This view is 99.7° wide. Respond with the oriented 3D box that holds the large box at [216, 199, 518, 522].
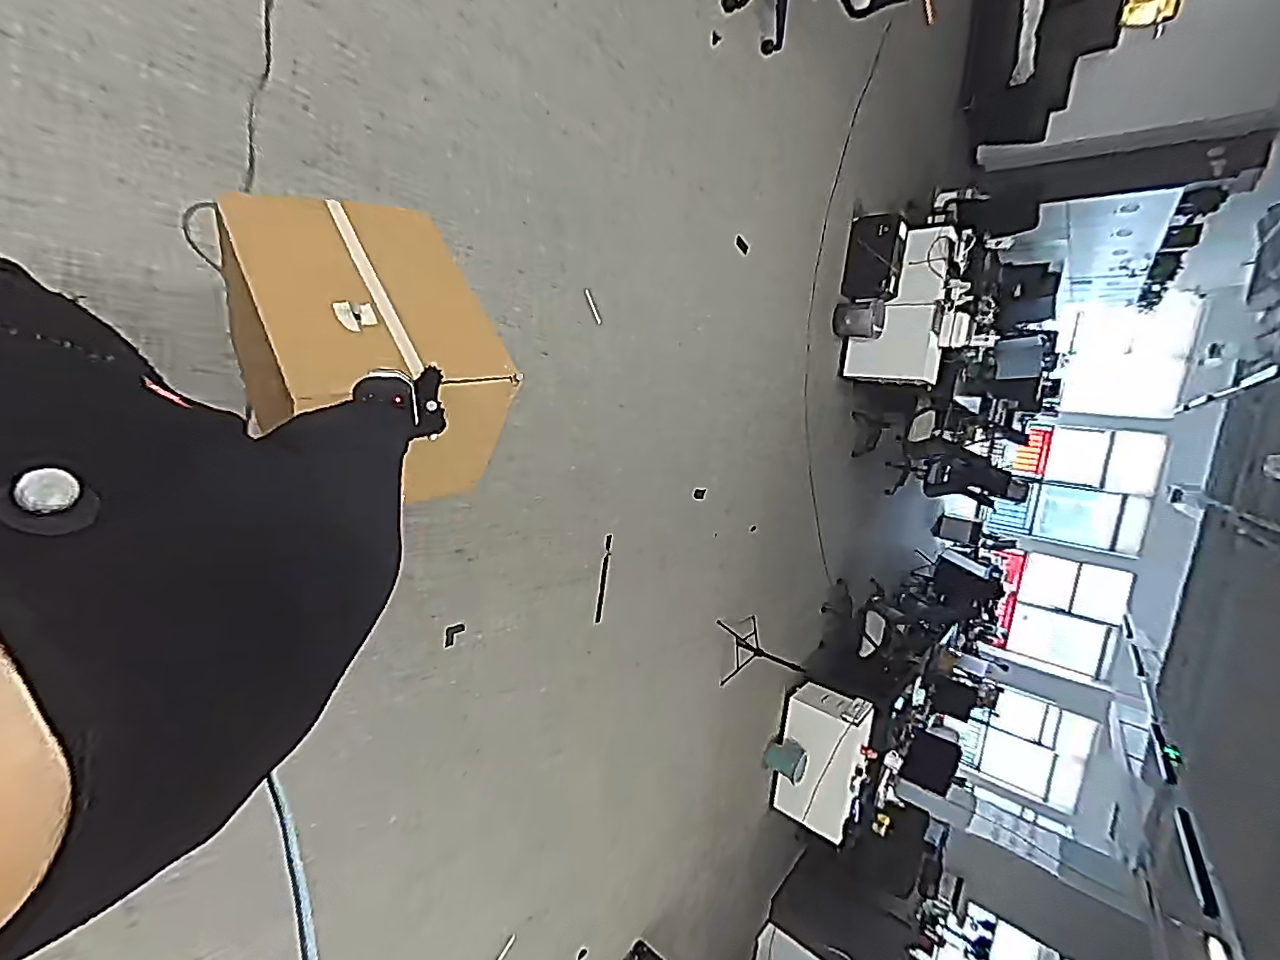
[{"bbox_3d":[-0.475,-0.200,0.927,0.320,0.408,0.320,-16,156,-40],"label":"large box"}]
